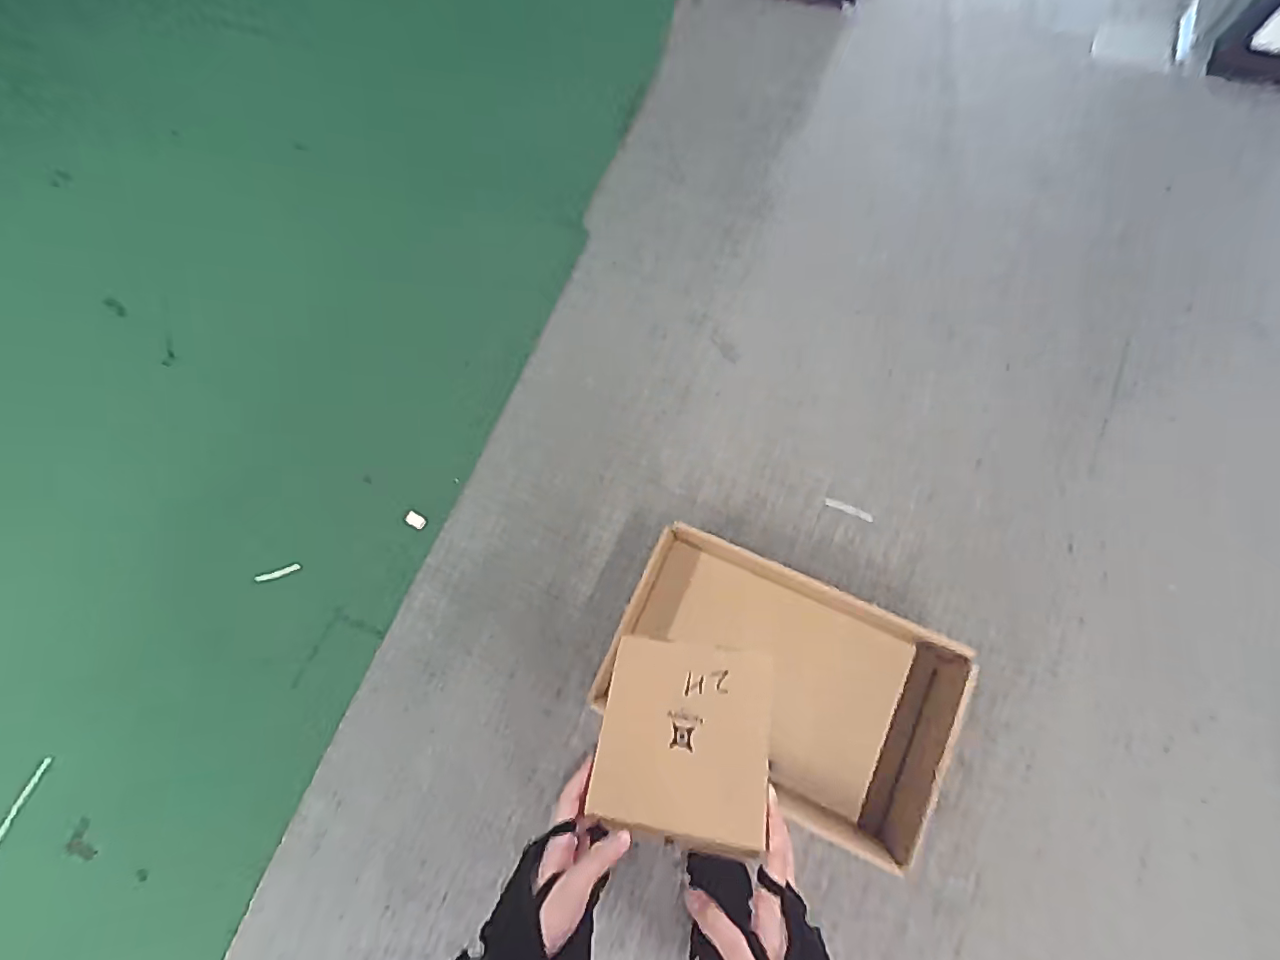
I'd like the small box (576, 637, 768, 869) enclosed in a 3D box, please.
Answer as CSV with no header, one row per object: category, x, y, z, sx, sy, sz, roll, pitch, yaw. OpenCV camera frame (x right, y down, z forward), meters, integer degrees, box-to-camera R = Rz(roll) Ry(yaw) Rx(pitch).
small box,0.045,0.295,0.581,0.168,0.176,0.179,5,51,11
